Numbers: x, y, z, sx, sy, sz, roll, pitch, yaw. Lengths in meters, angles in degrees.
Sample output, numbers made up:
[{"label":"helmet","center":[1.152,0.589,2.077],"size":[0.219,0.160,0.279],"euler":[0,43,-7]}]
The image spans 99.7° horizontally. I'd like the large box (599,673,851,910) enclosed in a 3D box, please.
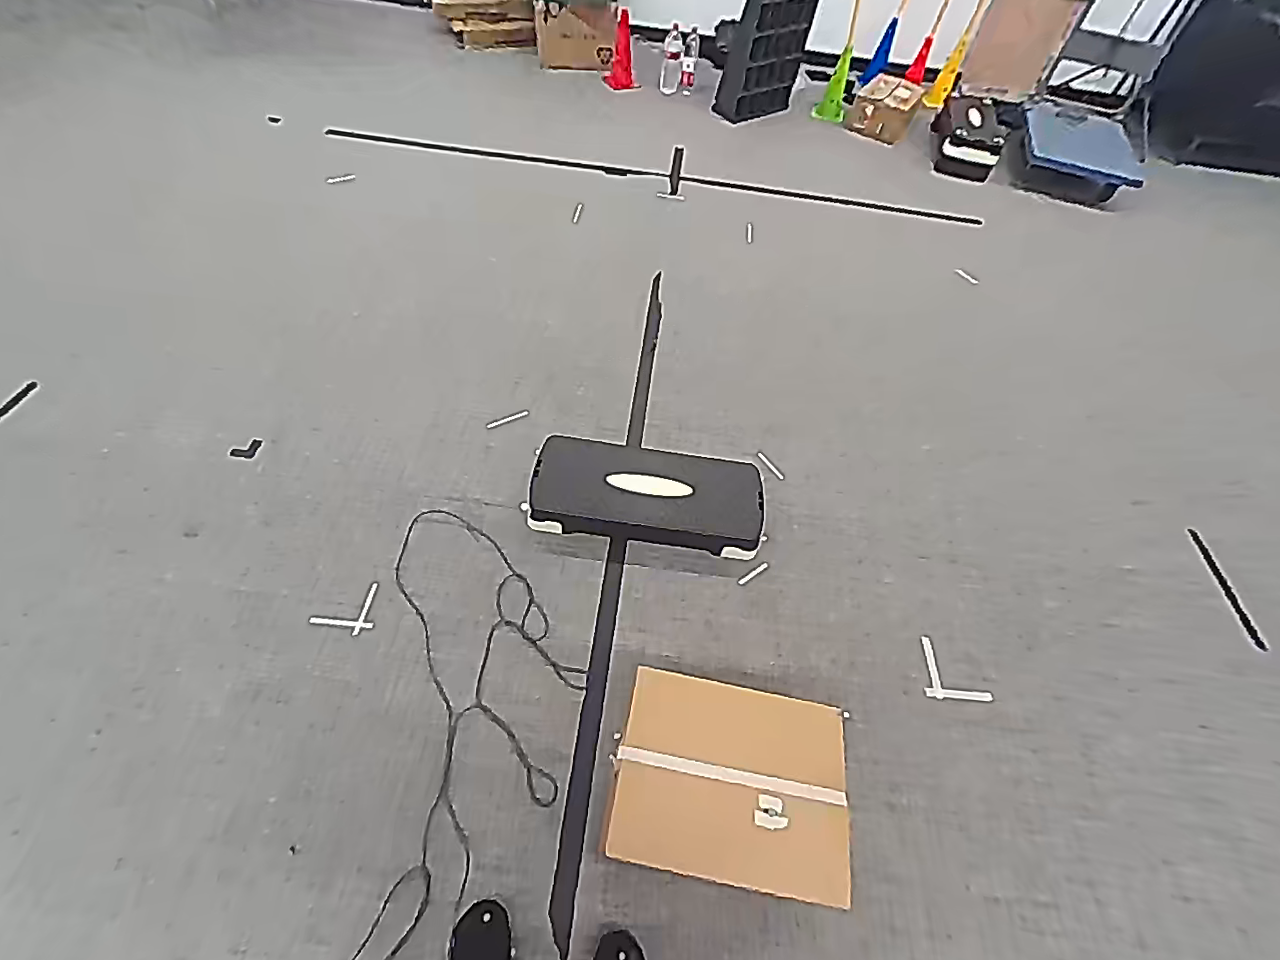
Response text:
[{"label":"large box","center":[0.149,0.616,1.070],"size":[0.408,0.320,0.320],"euler":[12,54,1]}]
